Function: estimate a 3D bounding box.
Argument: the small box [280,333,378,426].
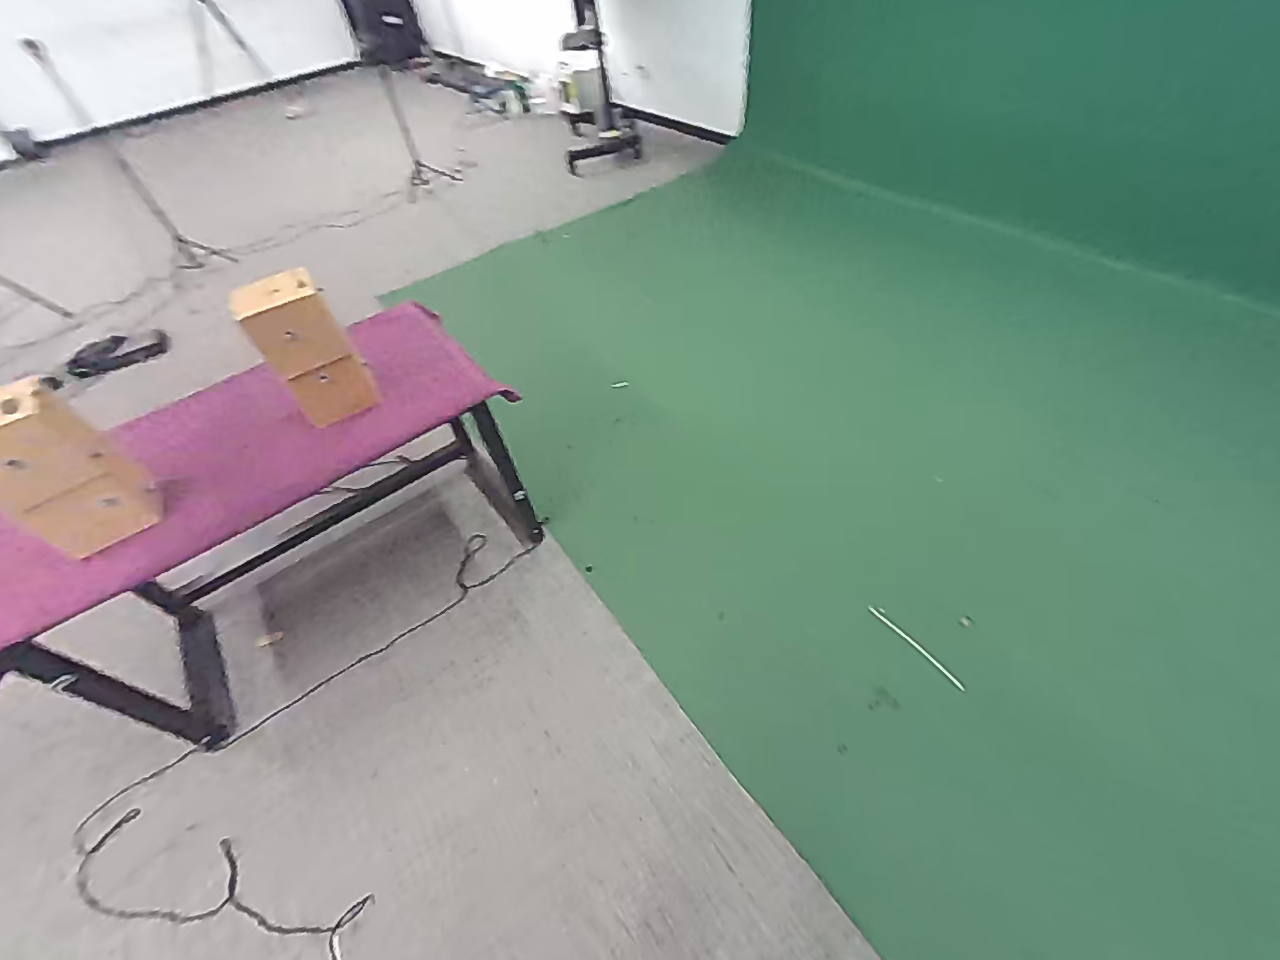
[{"bbox_3d":[-0.811,-0.274,1.412,0.179,0.176,0.168,-28,52,-16],"label":"small box"}]

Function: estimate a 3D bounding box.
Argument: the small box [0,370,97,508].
[{"bbox_3d":[-1.229,-0.080,1.066,0.179,0.176,0.168,-34,53,-21],"label":"small box"}]

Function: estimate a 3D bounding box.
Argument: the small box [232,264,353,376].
[{"bbox_3d":[-0.820,-0.375,1.282,0.179,0.176,0.168,-28,52,-16],"label":"small box"}]
